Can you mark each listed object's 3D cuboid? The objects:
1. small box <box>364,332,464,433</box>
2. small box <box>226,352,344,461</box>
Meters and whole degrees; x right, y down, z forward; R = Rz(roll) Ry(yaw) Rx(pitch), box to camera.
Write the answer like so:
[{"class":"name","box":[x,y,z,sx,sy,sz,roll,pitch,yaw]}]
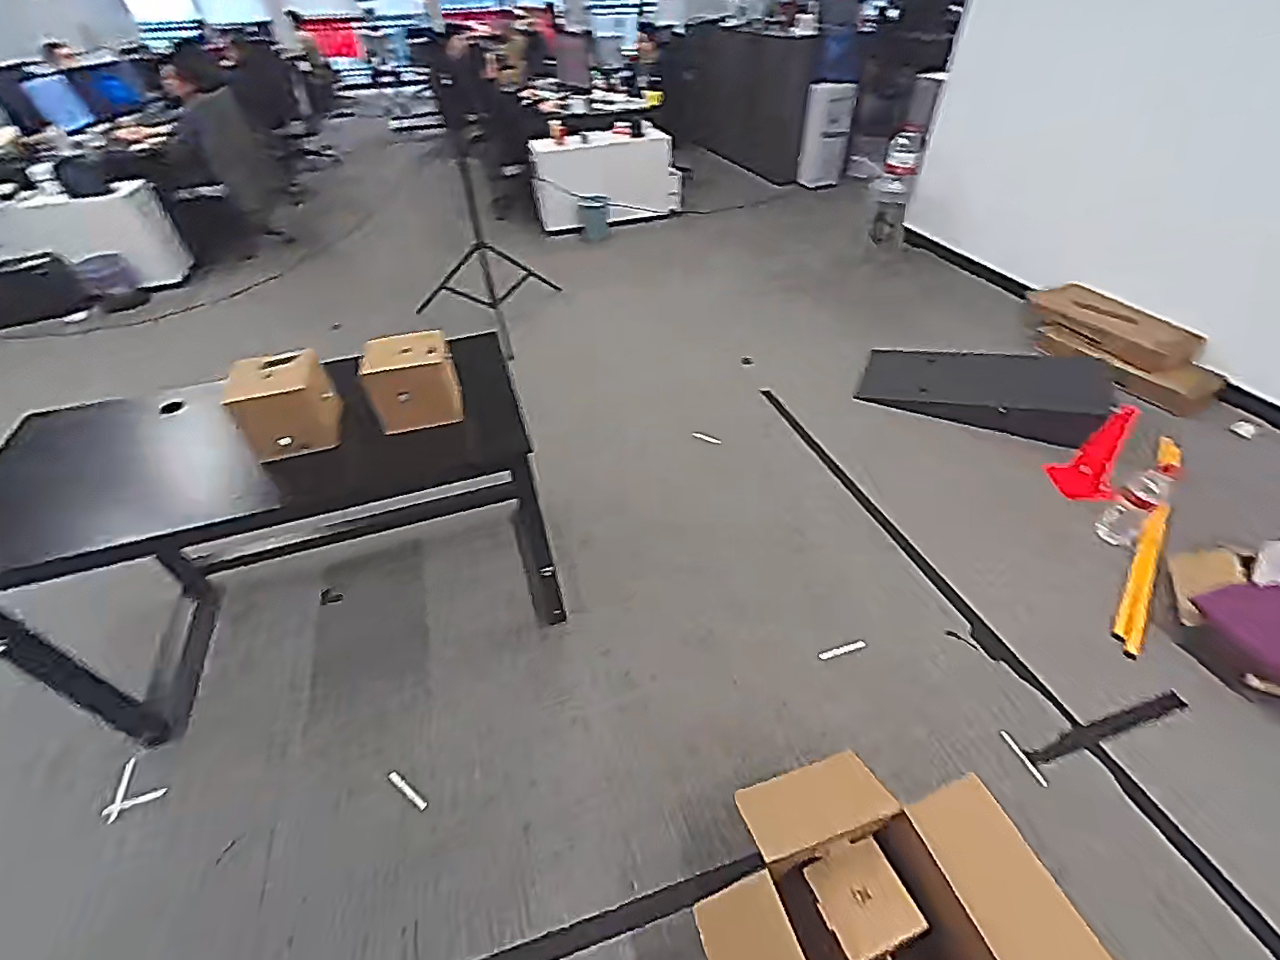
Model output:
[{"class":"small box","box":[-0.537,-0.233,1.306,0.179,0.176,0.168,-13,43,-9]},{"class":"small box","box":[-0.805,-0.169,1.249,0.168,0.176,0.179,-14,44,-12]}]
